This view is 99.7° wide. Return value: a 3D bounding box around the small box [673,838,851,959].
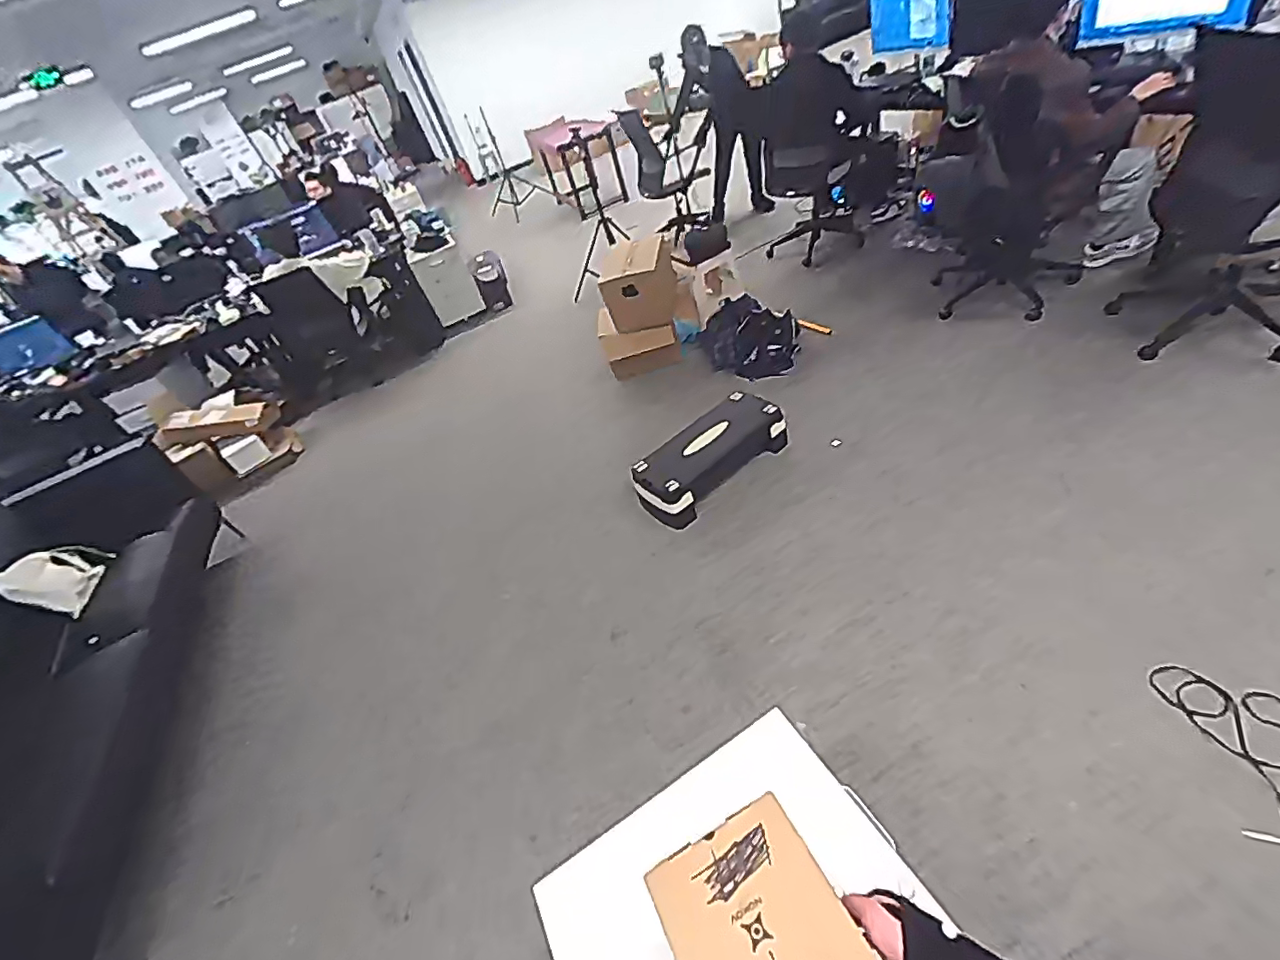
[{"bbox_3d":[0.167,0.604,0.677,0.168,0.176,0.179,-27,38,-10],"label":"small box"}]
